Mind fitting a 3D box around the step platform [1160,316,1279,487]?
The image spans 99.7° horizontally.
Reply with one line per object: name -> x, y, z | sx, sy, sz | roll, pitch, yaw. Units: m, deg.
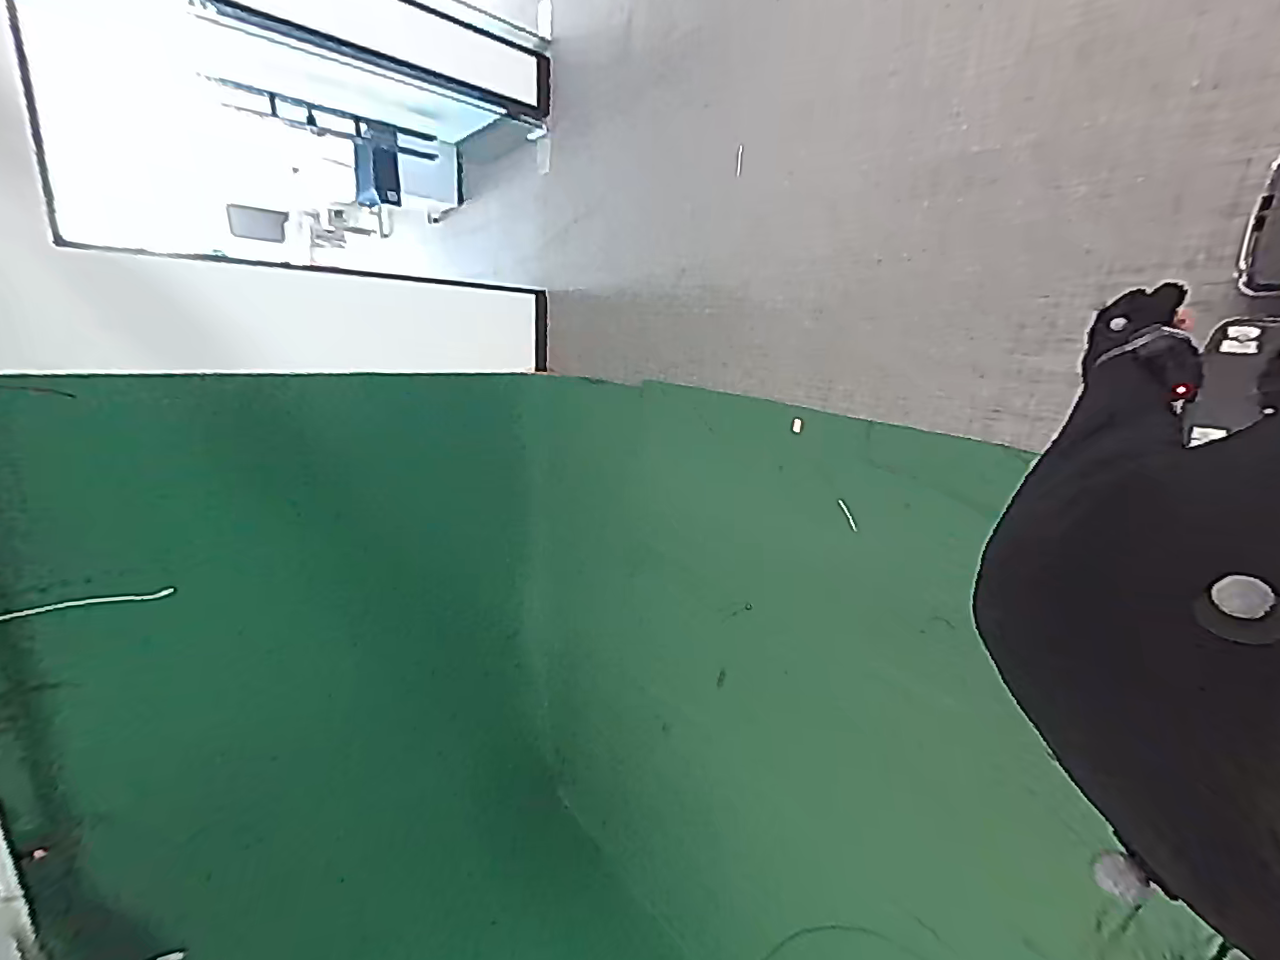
step platform -> 1.227, -0.075, 0.765 | 0.684, 0.204, 0.286 | 20, 112, 46
